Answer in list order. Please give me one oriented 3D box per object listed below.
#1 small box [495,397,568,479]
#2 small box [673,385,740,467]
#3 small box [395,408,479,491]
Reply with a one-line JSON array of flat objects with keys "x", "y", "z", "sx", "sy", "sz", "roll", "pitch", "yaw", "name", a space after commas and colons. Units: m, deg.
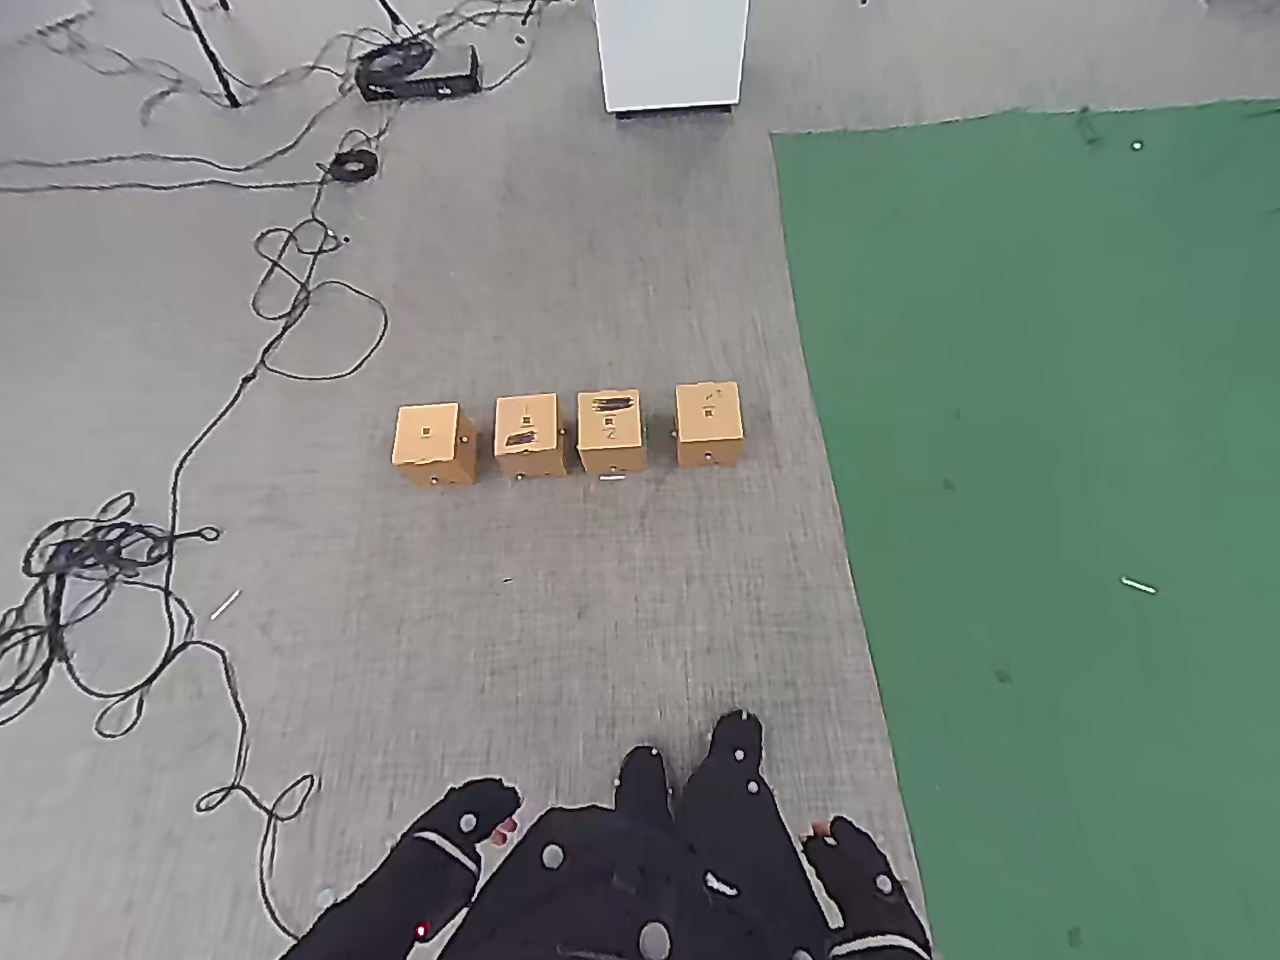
[{"x": -0.299, "y": -0.109, "z": 1.518, "sx": 0.168, "sy": 0.176, "sz": 0.179, "roll": -5, "pitch": 65, "yaw": 2, "name": "small box"}, {"x": 0.181, "y": -0.142, "z": 1.504, "sx": 0.168, "sy": 0.176, "sz": 0.179, "roll": -3, "pitch": 66, "yaw": 2, "name": "small box"}, {"x": -0.564, "y": -0.083, "z": 1.527, "sx": 0.168, "sy": 0.176, "sz": 0.179, "roll": -5, "pitch": 66, "yaw": 2, "name": "small box"}]
